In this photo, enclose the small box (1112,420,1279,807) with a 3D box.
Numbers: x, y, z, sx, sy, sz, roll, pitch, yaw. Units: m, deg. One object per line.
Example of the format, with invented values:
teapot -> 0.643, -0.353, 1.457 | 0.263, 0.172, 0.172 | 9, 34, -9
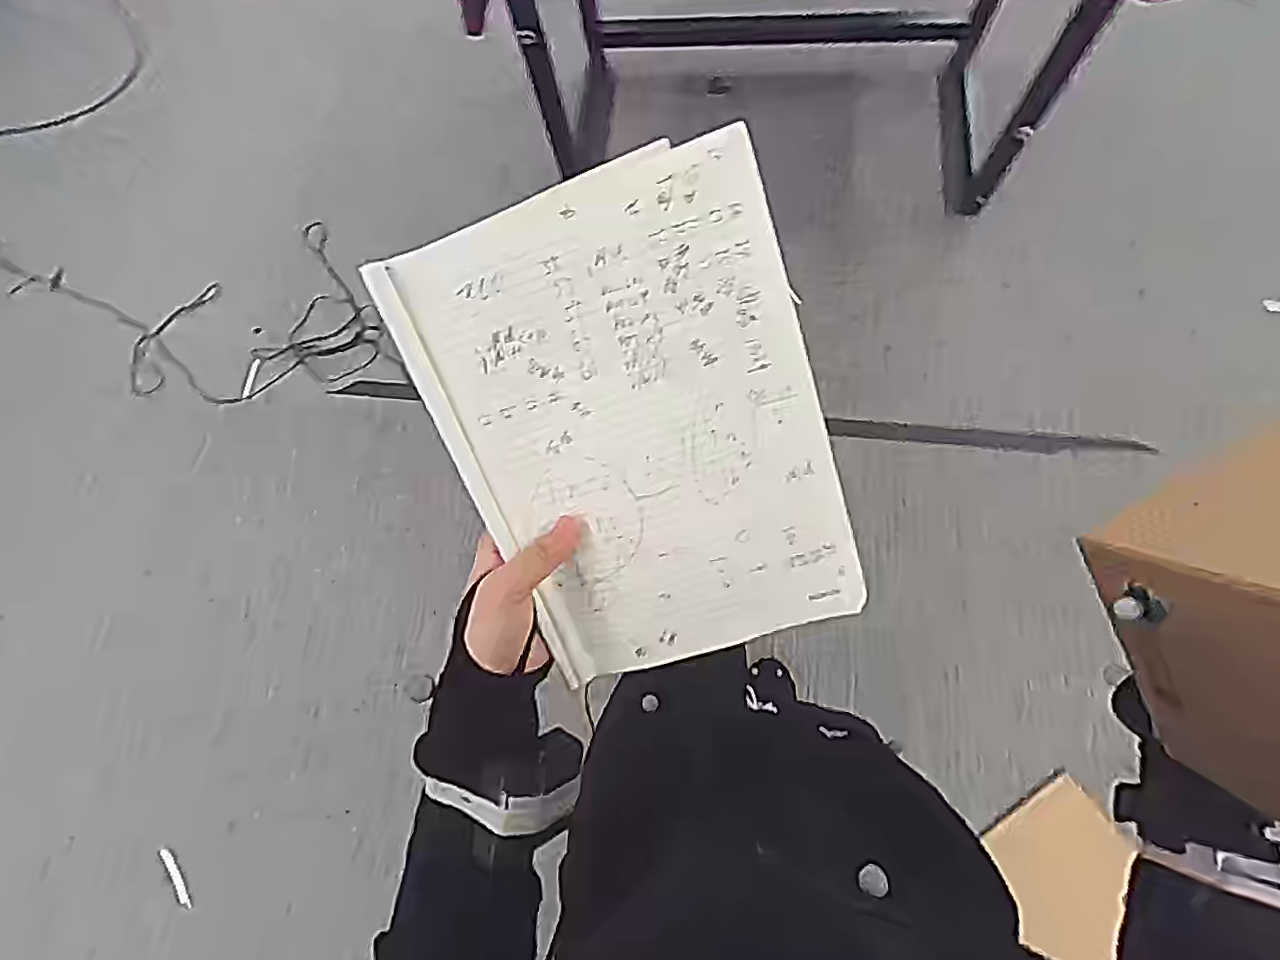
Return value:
small box -> 0.367, 0.068, 0.240 | 0.179, 0.176, 0.168 | -31, 100, -1
